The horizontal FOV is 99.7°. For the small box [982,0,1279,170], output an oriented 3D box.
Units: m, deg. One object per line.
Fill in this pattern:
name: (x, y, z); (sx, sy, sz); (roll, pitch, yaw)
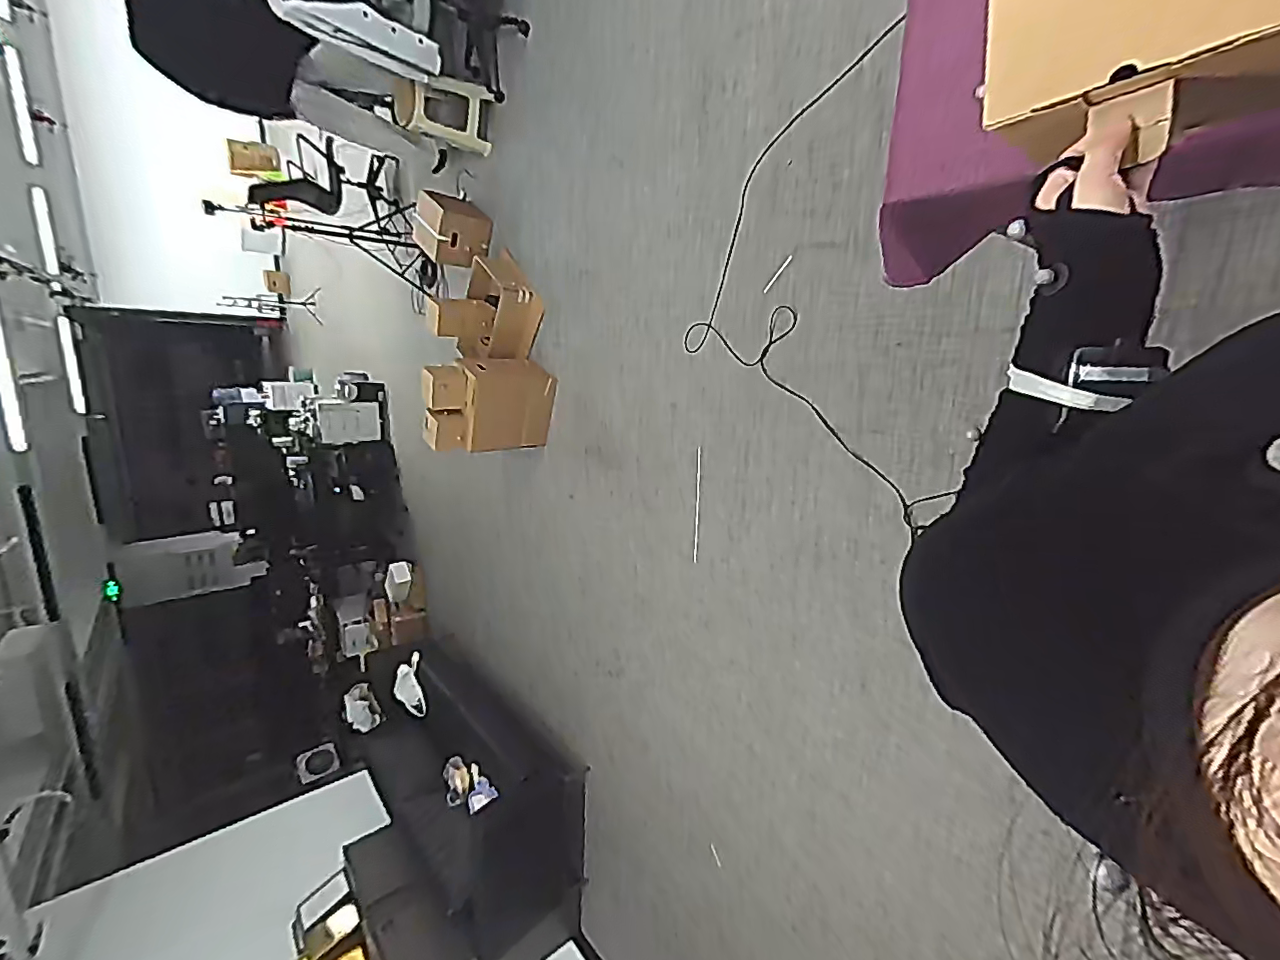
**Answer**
small box: (0.385, -0.370, 0.414); (0.168, 0.176, 0.179); (7, 105, 48)
